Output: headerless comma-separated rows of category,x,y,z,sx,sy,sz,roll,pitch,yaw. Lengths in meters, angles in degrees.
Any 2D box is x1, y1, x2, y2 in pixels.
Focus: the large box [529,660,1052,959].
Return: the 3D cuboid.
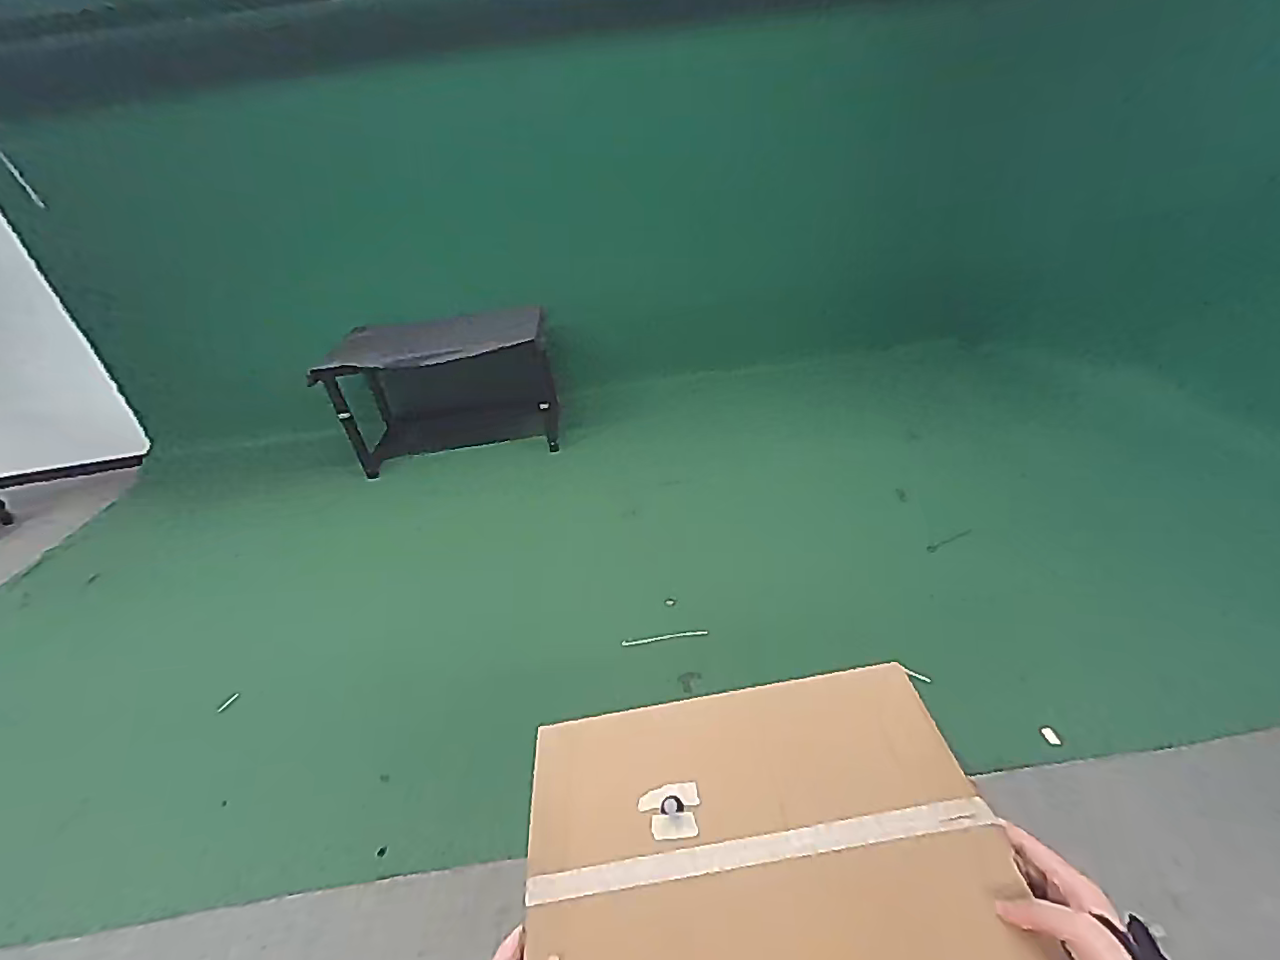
large box,0.127,0.446,0.572,0.408,0.320,0.320,-12,35,3
